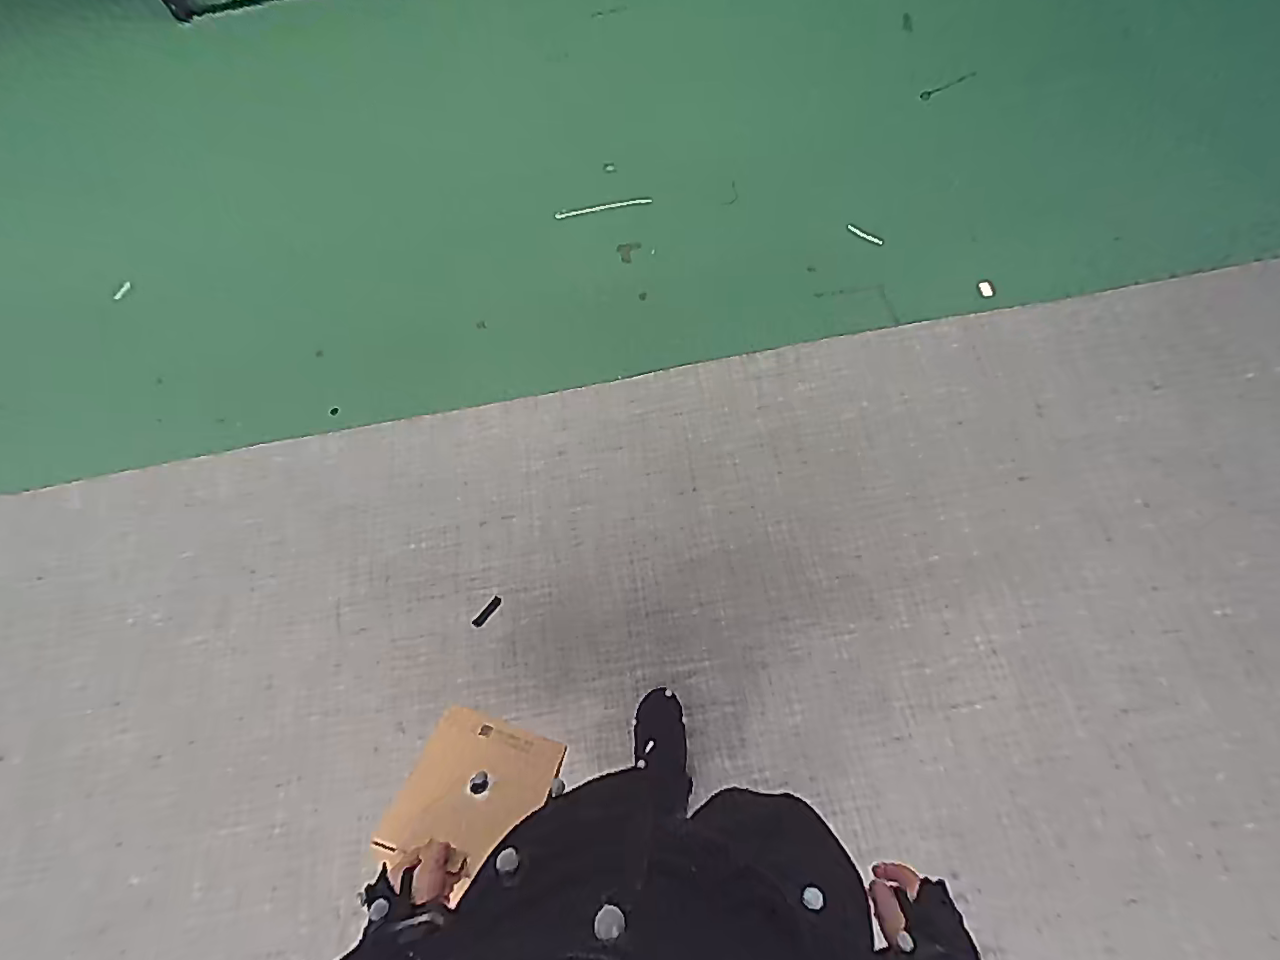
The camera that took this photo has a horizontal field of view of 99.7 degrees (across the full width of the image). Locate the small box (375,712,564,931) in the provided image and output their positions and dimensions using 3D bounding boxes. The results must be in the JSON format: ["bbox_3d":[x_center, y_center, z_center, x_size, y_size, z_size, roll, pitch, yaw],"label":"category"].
[{"bbox_3d":[-0.208,0.430,0.693,0.168,0.179,0.176,19,40,4],"label":"small box"}]
